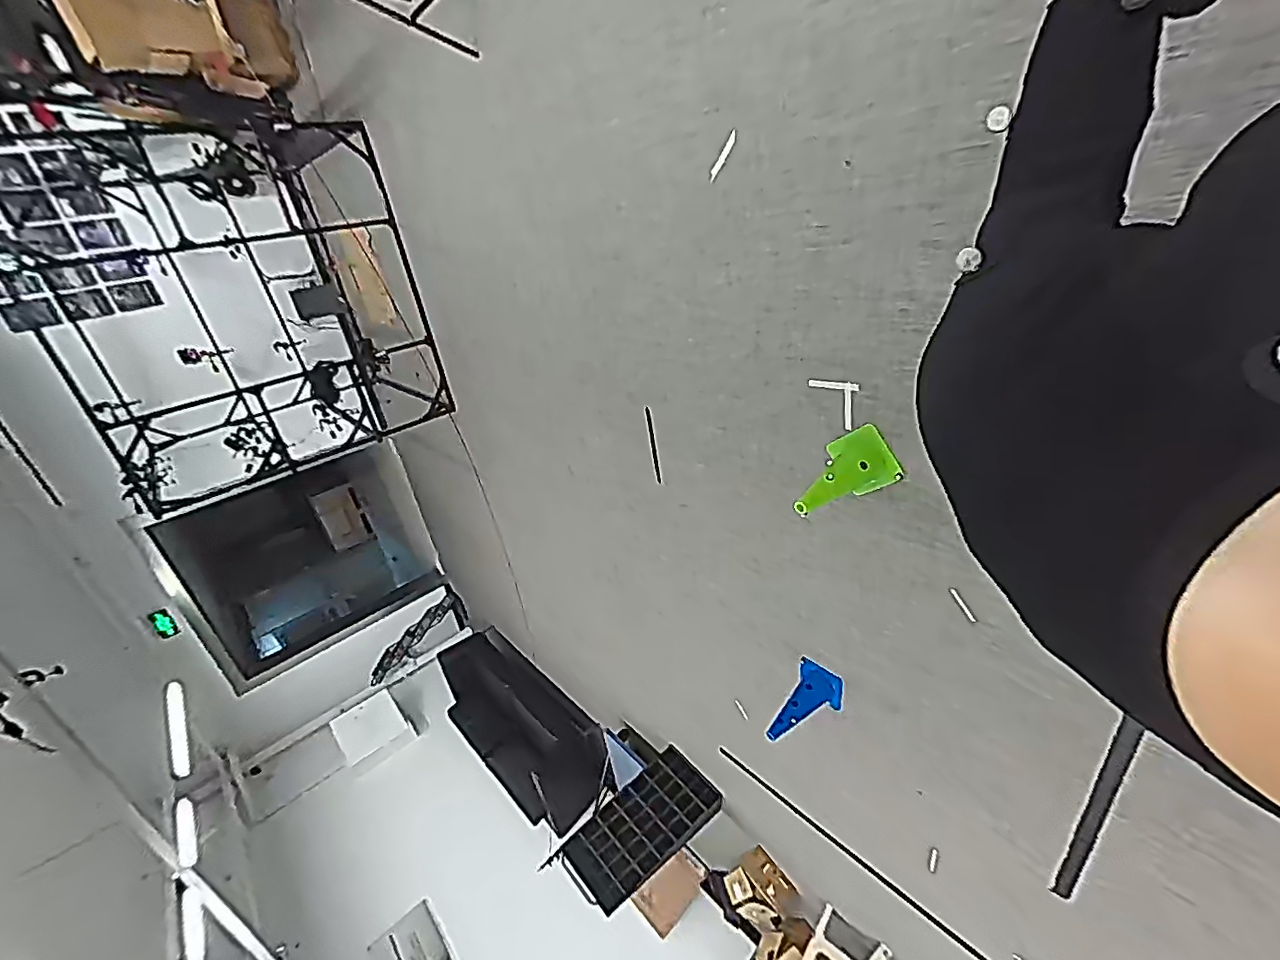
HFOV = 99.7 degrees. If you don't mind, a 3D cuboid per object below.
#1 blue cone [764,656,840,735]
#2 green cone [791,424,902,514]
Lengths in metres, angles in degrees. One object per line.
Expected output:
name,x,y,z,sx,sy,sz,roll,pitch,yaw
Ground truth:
blue cone,0.661,0.942,2.270,0.192,0.380,0.193,26,133,44
green cone,0.586,0.003,1.642,0.200,0.368,0.202,60,149,5
